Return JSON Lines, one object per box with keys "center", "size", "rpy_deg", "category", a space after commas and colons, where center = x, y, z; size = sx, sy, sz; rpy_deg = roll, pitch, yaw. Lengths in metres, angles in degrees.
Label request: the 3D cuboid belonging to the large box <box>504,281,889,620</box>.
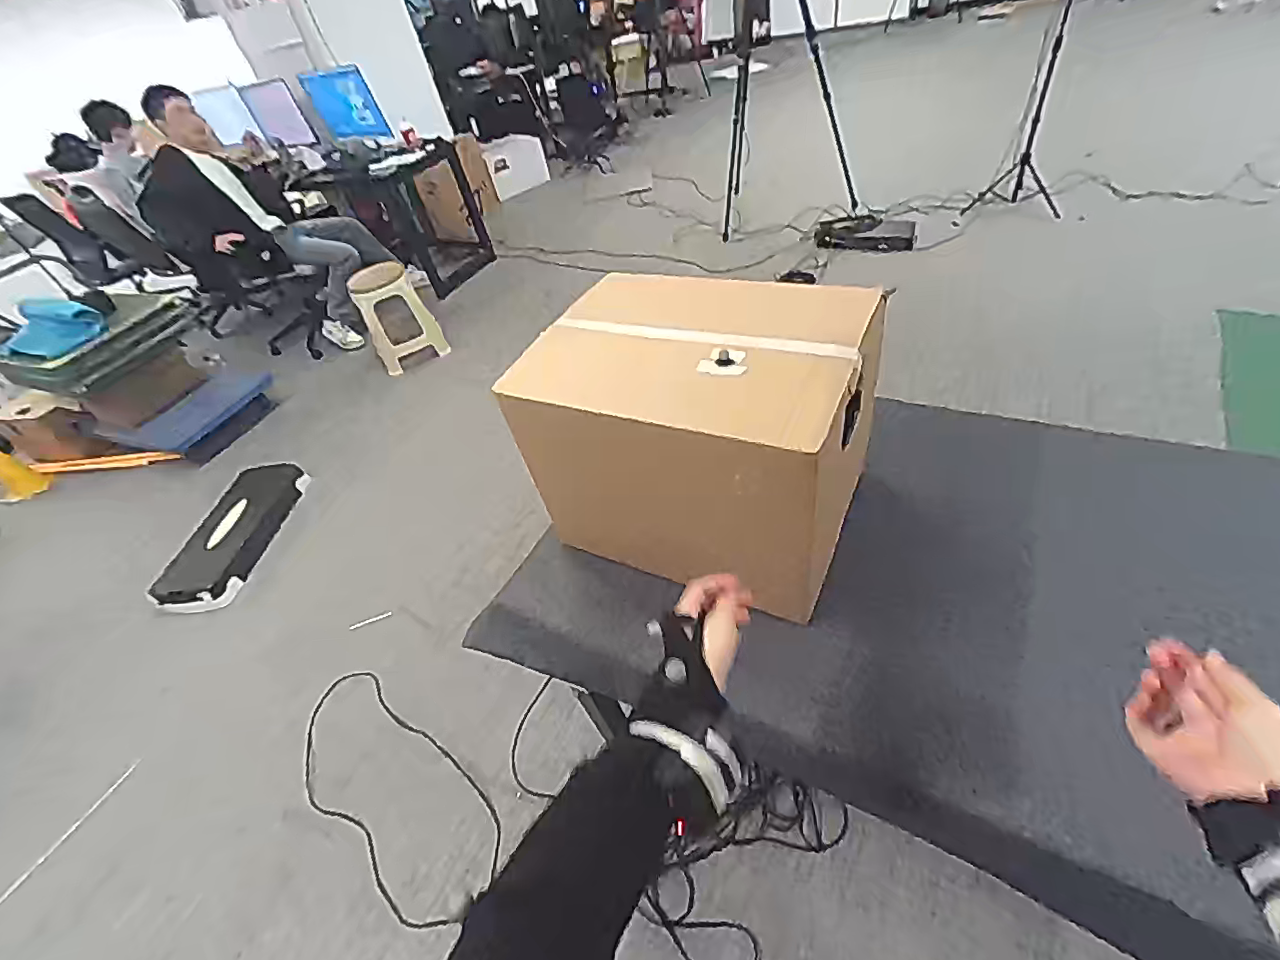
{"center": [0.093, -0.061, 0.773], "size": [0.408, 0.320, 0.320], "rpy_deg": [15, 51, 25], "category": "large box"}
